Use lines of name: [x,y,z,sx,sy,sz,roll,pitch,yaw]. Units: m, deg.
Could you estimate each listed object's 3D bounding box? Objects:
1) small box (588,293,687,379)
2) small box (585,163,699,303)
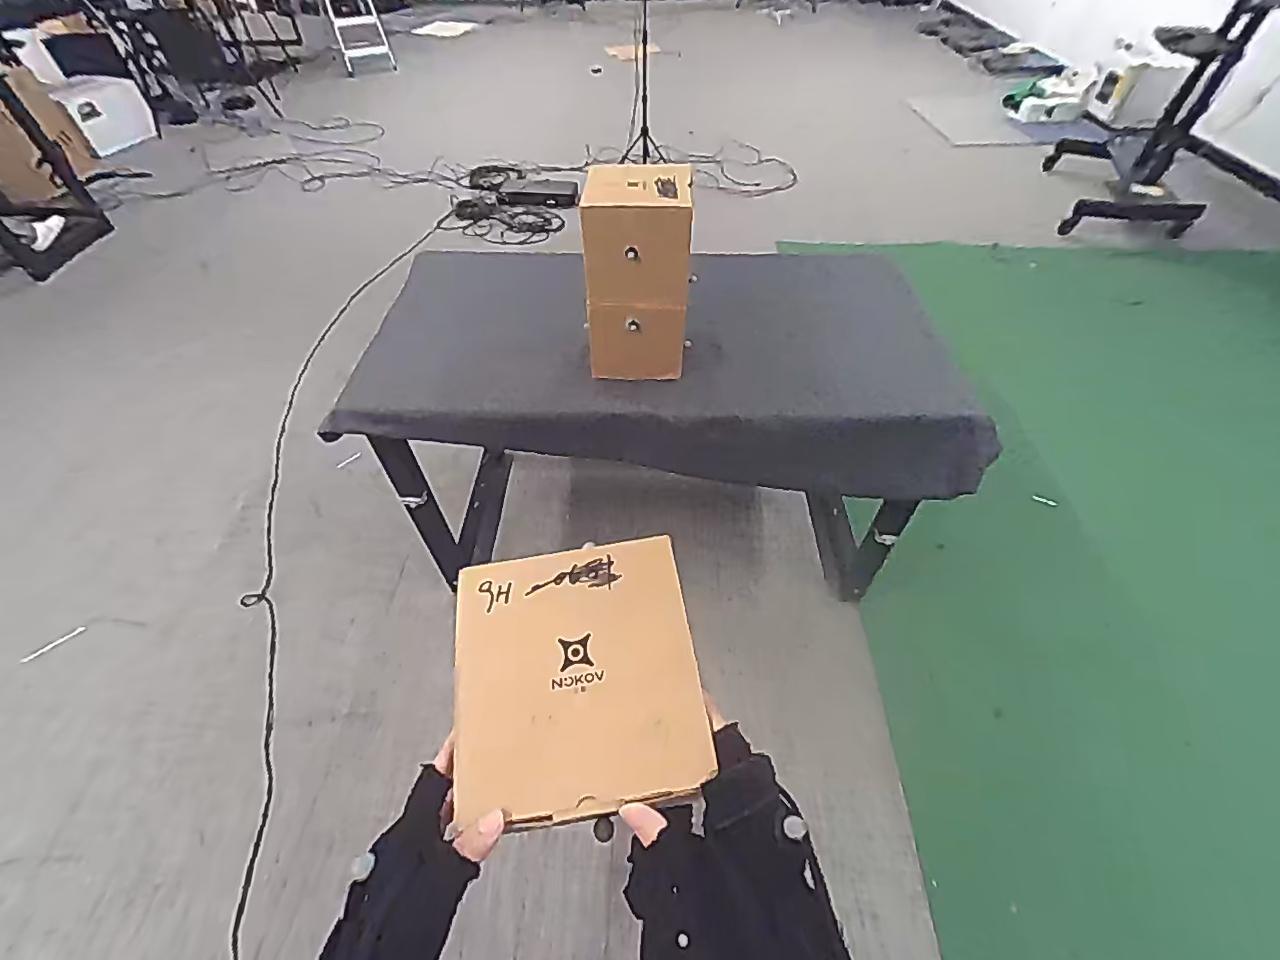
small box: [-0.001,-0.312,1.052,0.179,0.176,0.168,2,50,1]
small box: [0.002,-0.419,0.927,0.179,0.176,0.168,1,51,0]
